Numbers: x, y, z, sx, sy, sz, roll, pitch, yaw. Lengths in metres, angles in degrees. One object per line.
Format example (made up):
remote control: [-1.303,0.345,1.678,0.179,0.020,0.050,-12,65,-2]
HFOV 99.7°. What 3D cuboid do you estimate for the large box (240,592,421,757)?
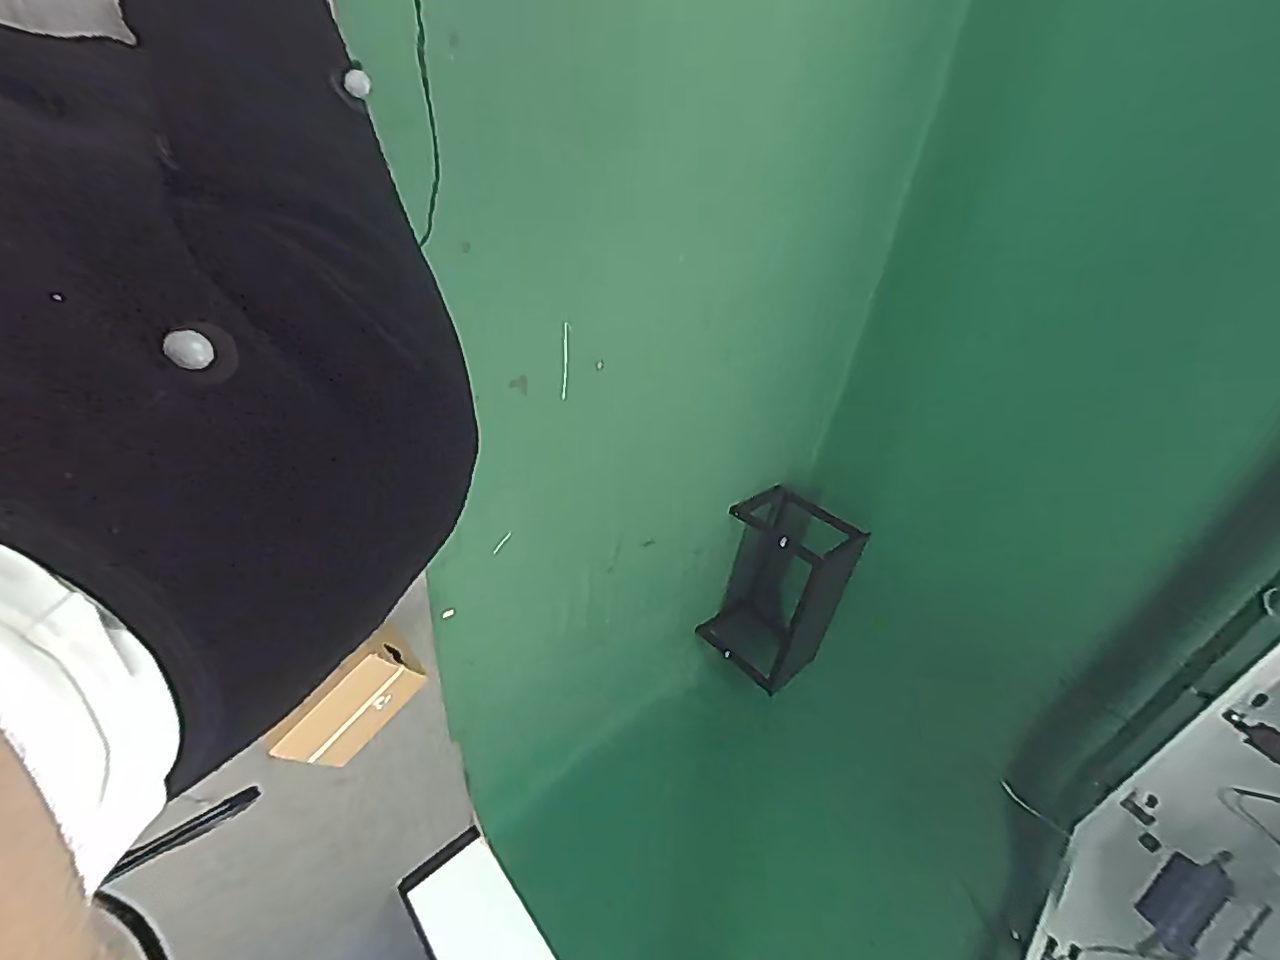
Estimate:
large box: [-1.072,0.677,1.888,0.408,0.320,0.320,-47,145,-13]
